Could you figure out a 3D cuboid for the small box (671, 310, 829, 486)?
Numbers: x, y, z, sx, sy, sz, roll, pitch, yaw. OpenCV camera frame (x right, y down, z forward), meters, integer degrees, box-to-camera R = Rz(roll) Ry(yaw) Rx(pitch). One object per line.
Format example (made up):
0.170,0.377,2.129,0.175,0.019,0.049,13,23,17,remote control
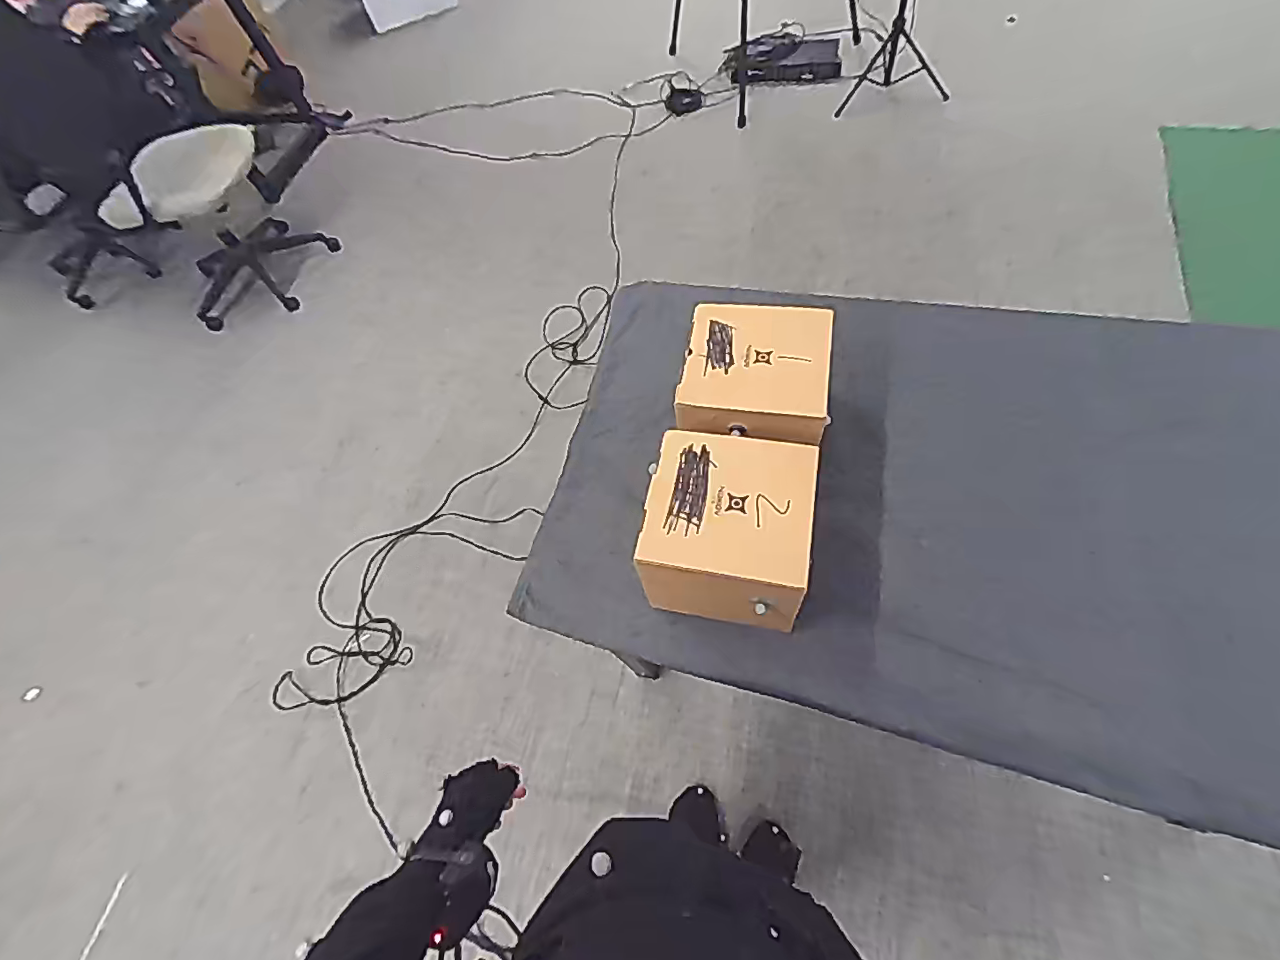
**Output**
0.149,-0.106,0.730,0.179,0.176,0.168,7,63,13,small box
